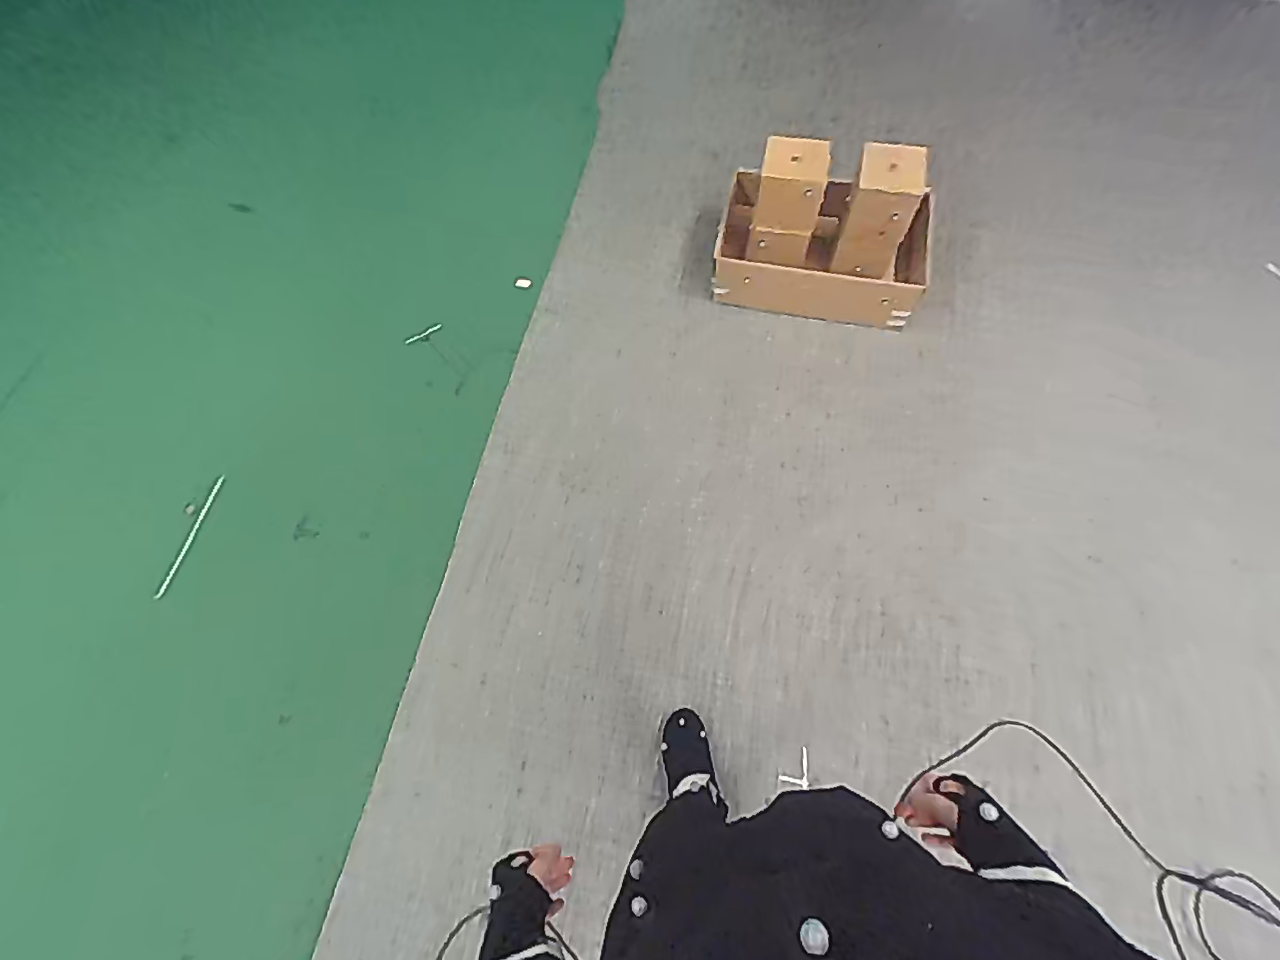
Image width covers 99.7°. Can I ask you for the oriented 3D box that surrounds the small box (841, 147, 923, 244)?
[{"bbox_3d":[0.677,-0.798,1.526,0.168,0.176,0.179,11,69,9],"label":"small box"}]

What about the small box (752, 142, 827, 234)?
[{"bbox_3d":[0.428,-0.840,1.563,0.179,0.176,0.168,10,68,7],"label":"small box"}]
